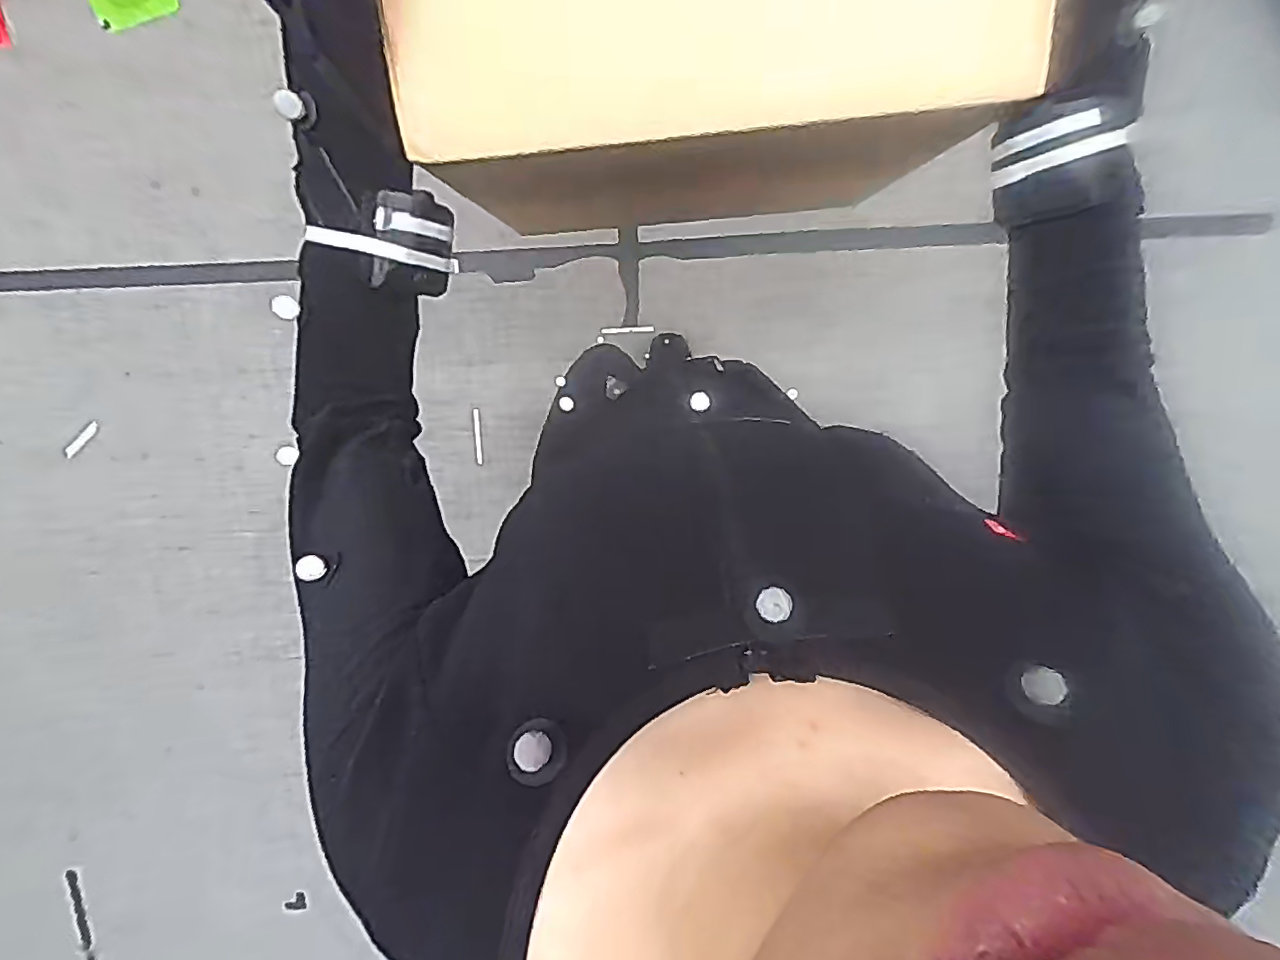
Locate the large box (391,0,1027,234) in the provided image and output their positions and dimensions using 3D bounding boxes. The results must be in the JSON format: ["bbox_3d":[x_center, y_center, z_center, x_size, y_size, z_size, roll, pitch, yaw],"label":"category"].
[{"bbox_3d":[0.033,-0.421,0.460,0.408,0.320,0.320,-5,105,2],"label":"large box"}]
